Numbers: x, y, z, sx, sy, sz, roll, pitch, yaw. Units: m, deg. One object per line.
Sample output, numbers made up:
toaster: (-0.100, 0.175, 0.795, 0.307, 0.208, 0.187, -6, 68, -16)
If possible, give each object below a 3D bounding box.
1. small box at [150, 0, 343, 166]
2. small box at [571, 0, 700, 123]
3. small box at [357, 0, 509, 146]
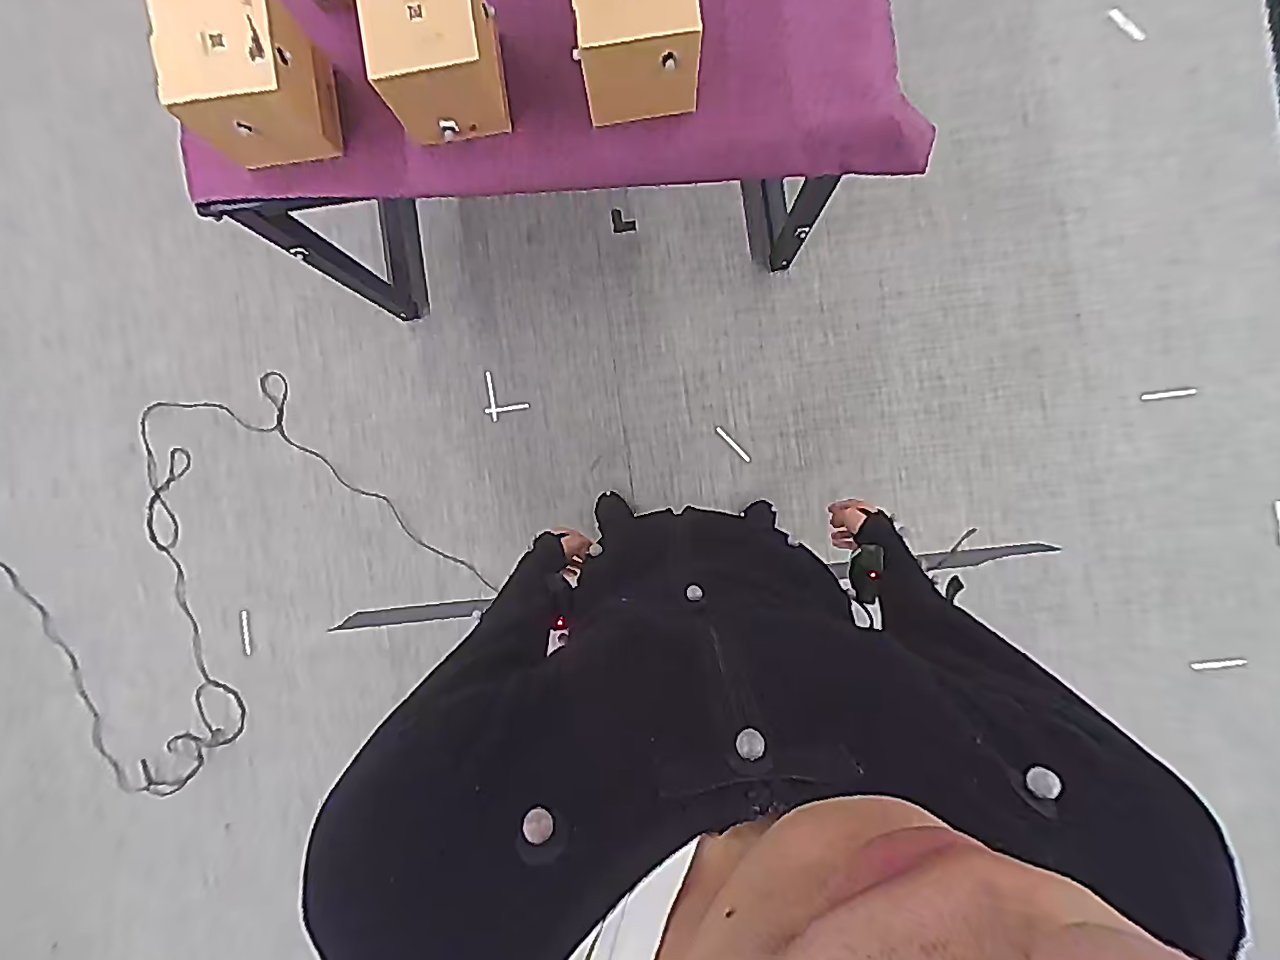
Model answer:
small box: (-0.609, -0.629, 0.856, 0.179, 0.176, 0.168, -7, 91, 3)
small box: (-0.008, -0.689, 0.830, 0.179, 0.176, 0.168, -7, 90, 3)
small box: (-0.316, -0.666, 0.846, 0.168, 0.176, 0.179, -8, 92, 3)
